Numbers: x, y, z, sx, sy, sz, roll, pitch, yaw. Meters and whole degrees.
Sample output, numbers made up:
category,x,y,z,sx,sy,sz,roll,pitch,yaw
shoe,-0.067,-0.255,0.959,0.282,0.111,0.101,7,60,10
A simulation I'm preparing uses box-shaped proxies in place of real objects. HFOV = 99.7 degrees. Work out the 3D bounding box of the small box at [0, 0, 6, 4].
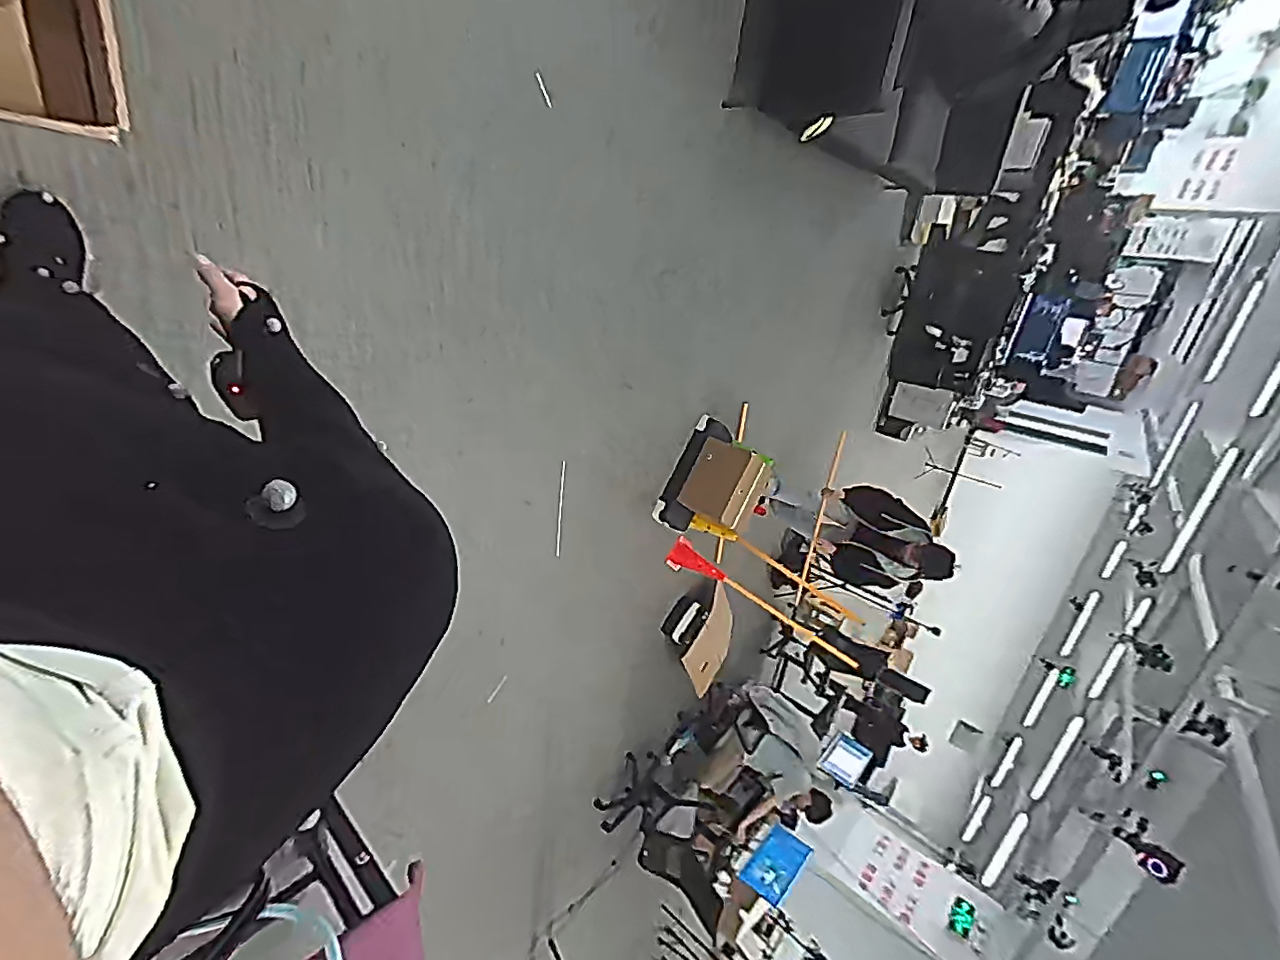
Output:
category,x,y,z,sx,sy,sz,roll,pitch,yaw
small box,-0.693,-0.551,0.470,0.179,0.176,0.168,-16,123,-50
